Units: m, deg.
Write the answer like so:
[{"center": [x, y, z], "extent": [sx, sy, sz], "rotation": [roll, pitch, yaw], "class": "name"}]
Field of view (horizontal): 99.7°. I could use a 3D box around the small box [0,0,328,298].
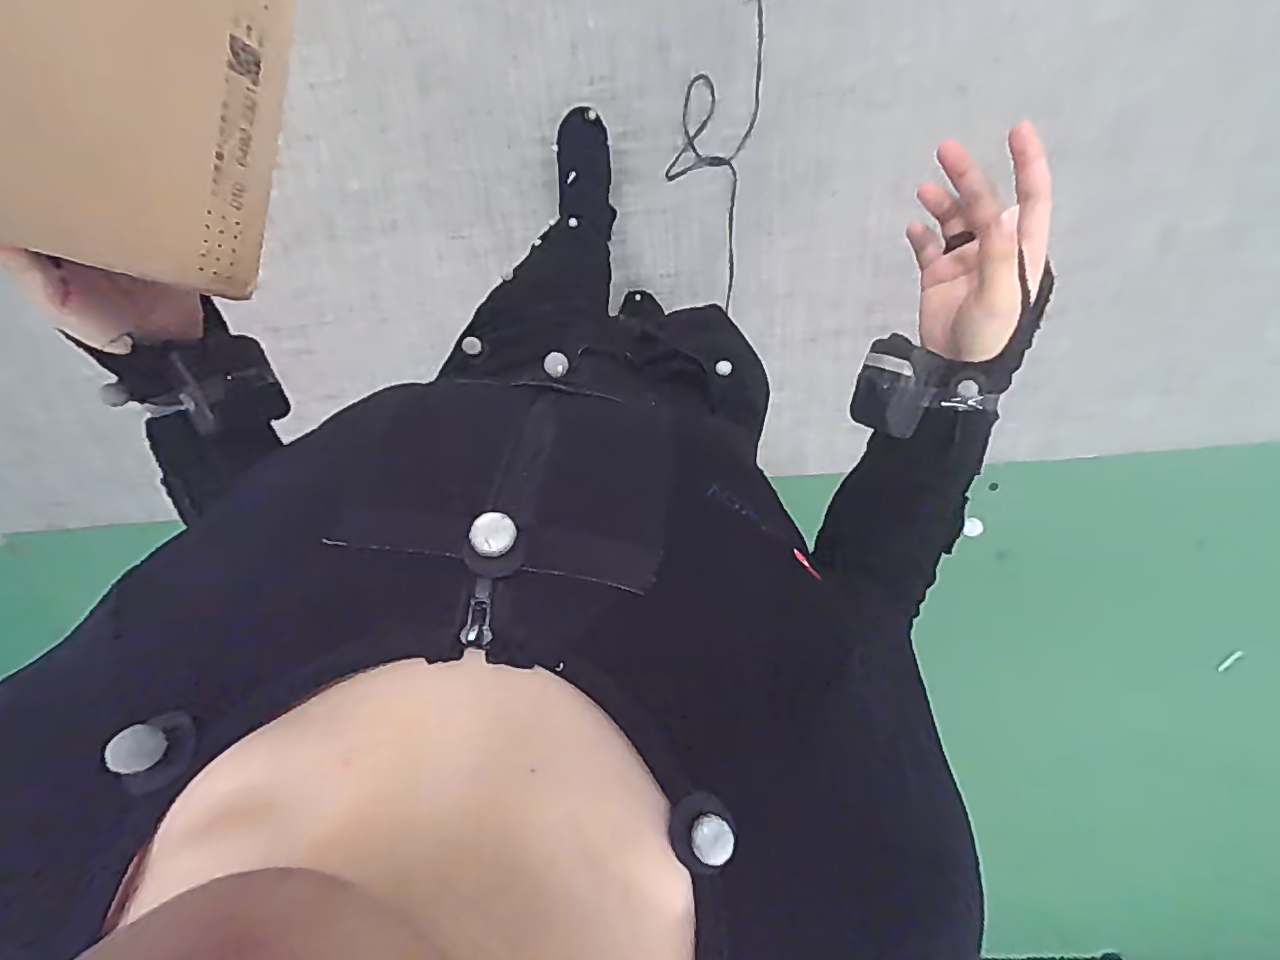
[{"center": [-0.270, -0.184, 0.216], "extent": [0.179, 0.176, 0.168], "rotation": [15, 98, 14], "class": "small box"}]
